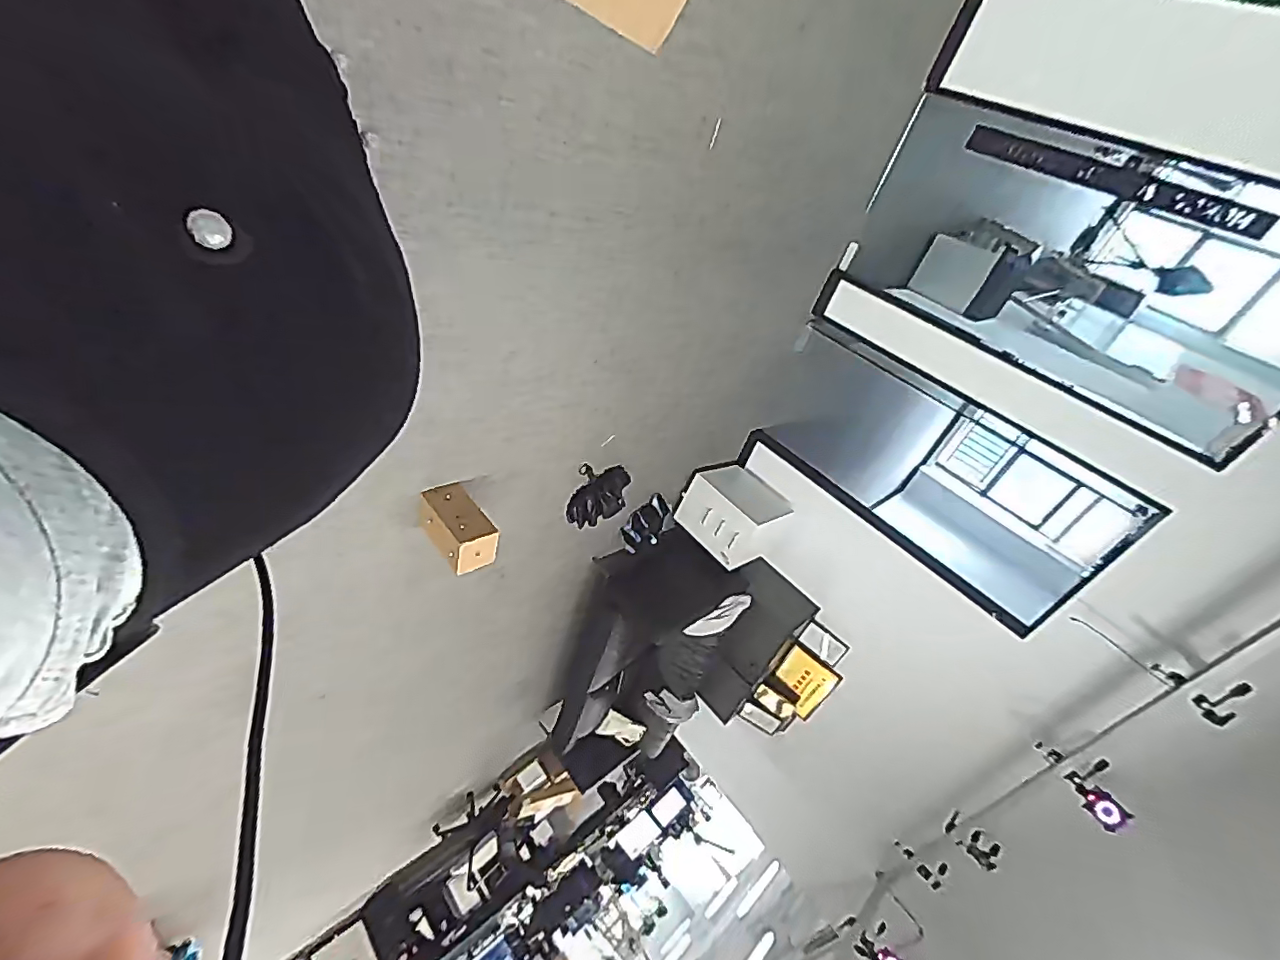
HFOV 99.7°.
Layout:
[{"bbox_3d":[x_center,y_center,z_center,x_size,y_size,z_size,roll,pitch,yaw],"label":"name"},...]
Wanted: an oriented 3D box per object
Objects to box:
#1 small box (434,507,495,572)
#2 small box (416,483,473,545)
[{"bbox_3d":[-0.701,0.227,2.147,0.168,0.176,0.179,-20,143,-40],"label":"small box"},{"bbox_3d":[-0.807,0.130,2.224,0.168,0.176,0.179,-21,143,-40],"label":"small box"}]
